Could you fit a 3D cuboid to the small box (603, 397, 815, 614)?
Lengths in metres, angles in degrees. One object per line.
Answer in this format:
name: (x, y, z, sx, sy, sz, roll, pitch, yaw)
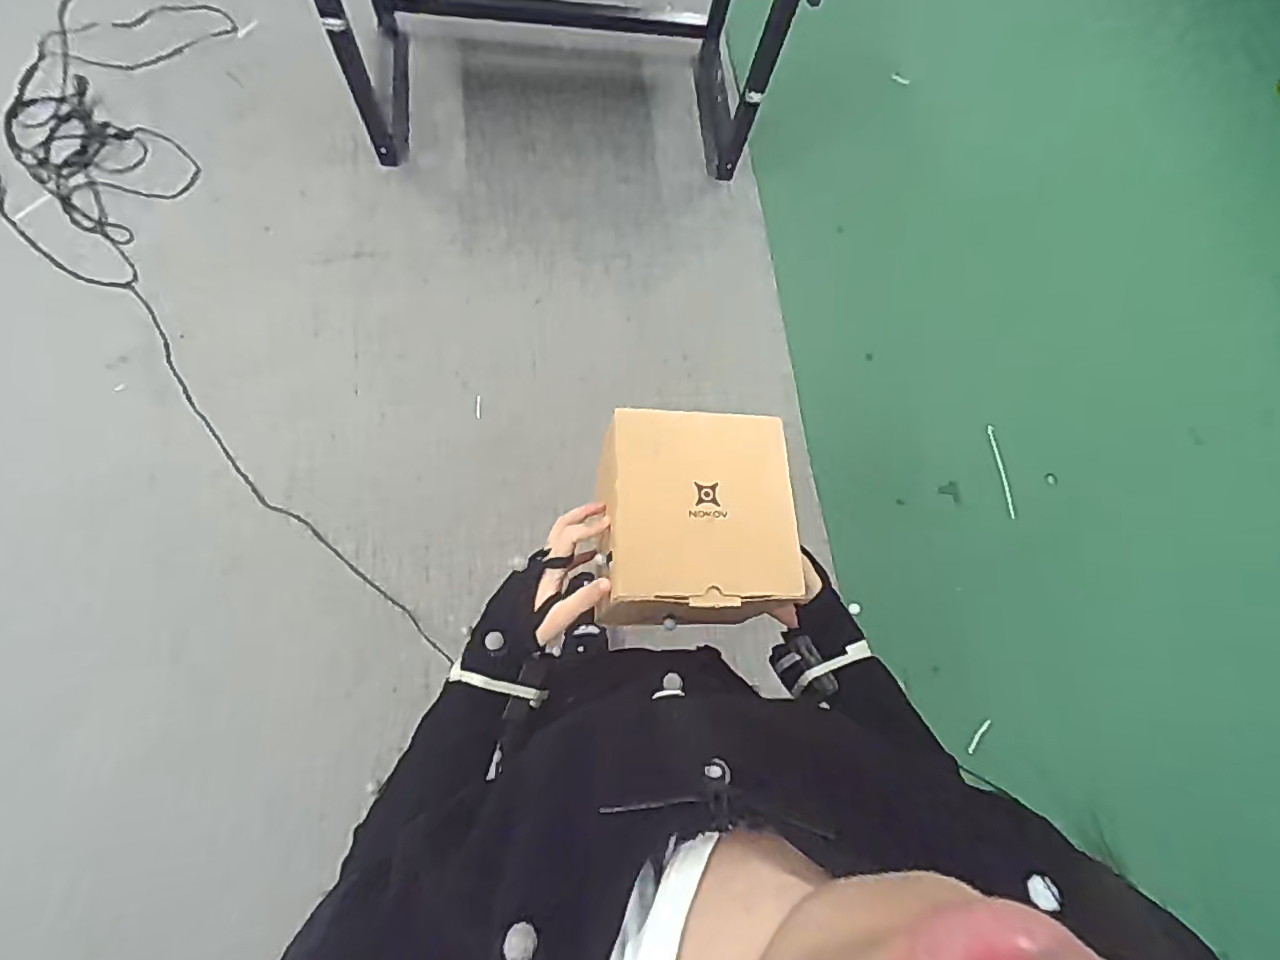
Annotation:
small box: (0.053, 0.036, 0.554, 0.168, 0.176, 0.179, 2, 69, -11)
